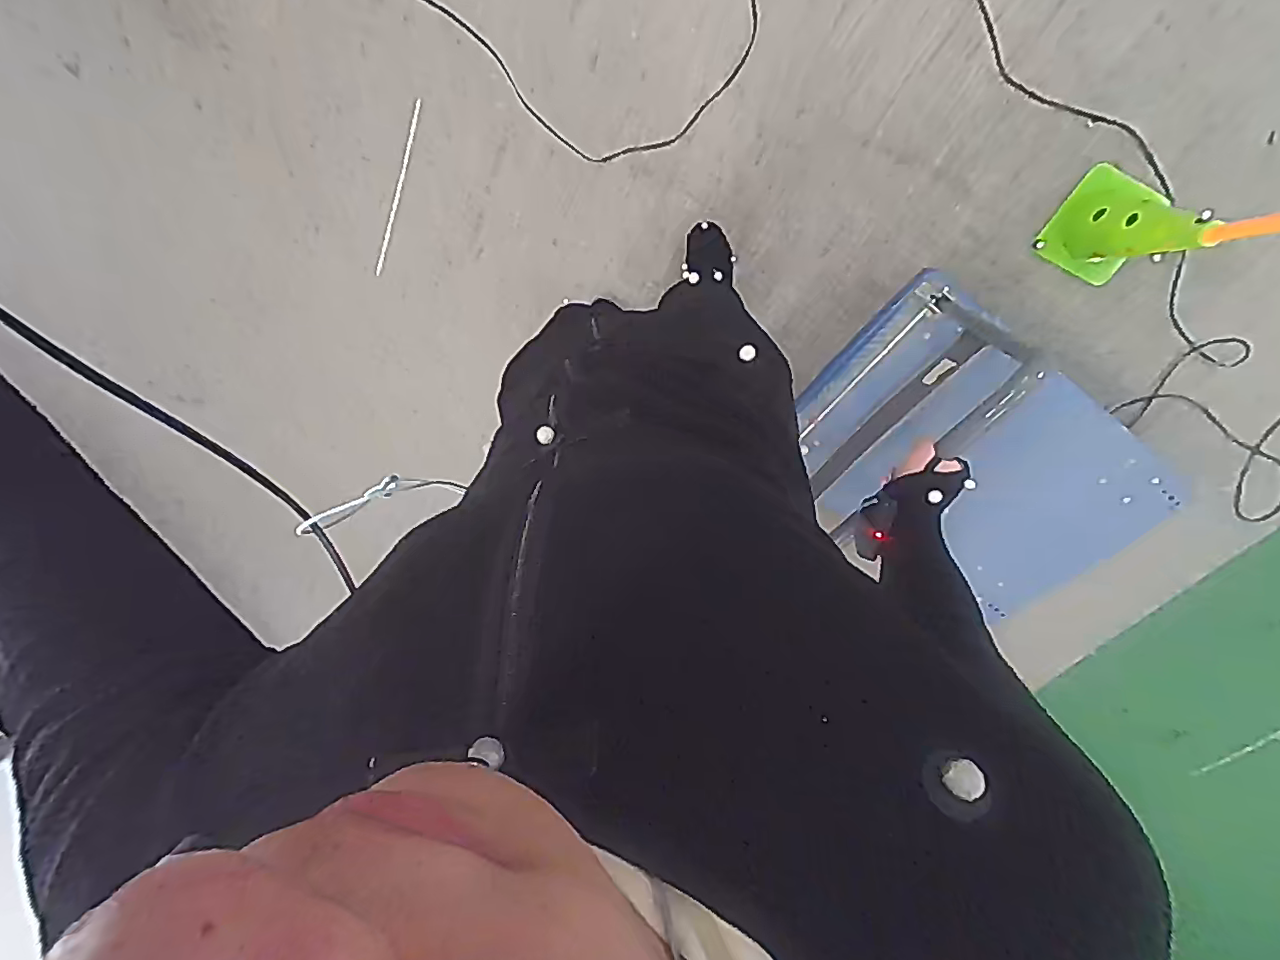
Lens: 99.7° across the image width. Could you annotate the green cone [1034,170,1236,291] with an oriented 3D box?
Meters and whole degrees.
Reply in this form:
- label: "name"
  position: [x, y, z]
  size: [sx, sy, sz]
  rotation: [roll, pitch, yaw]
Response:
- label: "green cone"
  position: [1.002, -0.481, 1.061]
  size: [0.200, 0.368, 0.202]
  rotation: [27, 117, -3]
